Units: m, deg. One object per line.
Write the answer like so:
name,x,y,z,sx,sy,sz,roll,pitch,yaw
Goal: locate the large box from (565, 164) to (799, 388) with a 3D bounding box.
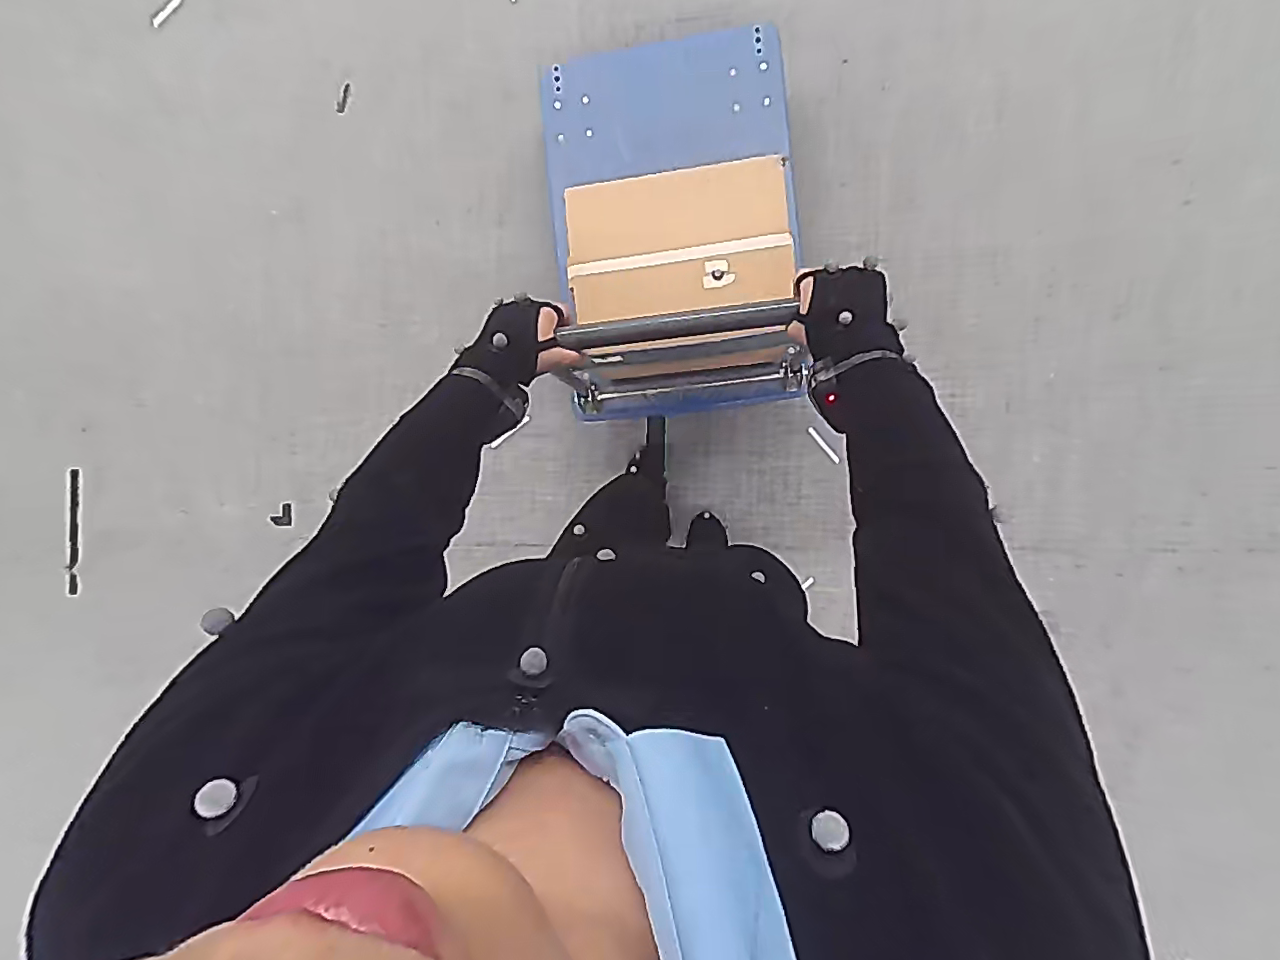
large box,0.084,-0.391,1.129,0.408,0.320,0.320,-6,91,6
